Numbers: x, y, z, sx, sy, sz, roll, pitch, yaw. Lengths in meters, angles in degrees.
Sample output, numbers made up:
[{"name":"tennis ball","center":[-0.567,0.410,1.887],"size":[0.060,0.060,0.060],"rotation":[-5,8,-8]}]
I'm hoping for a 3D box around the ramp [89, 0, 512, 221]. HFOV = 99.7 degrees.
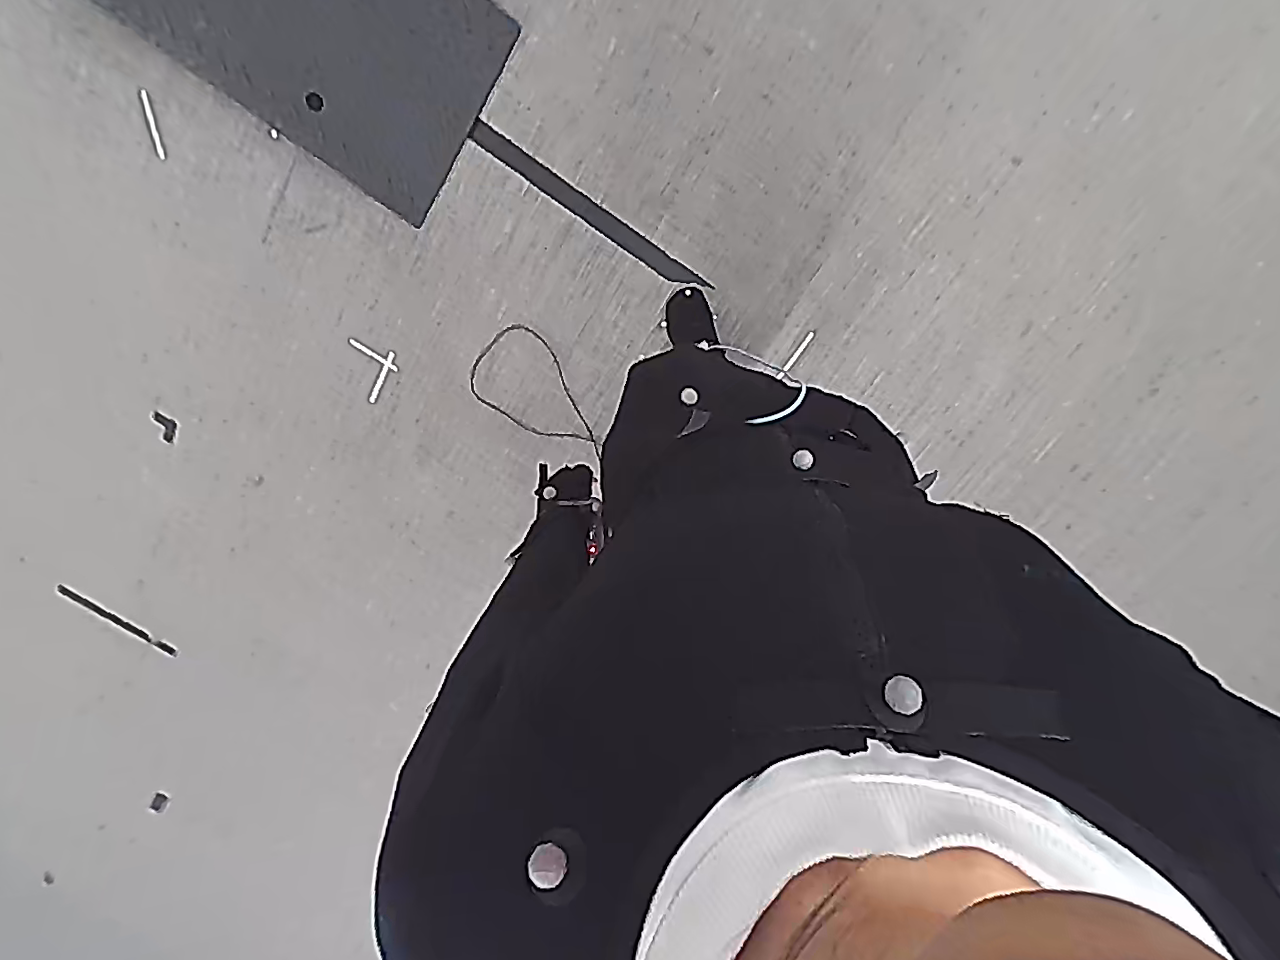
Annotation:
[{"name":"ramp","center":[-0.807,-1.053,1.085],"size":[0.991,0.206,0.509],"rotation":[33,106,-8]}]
